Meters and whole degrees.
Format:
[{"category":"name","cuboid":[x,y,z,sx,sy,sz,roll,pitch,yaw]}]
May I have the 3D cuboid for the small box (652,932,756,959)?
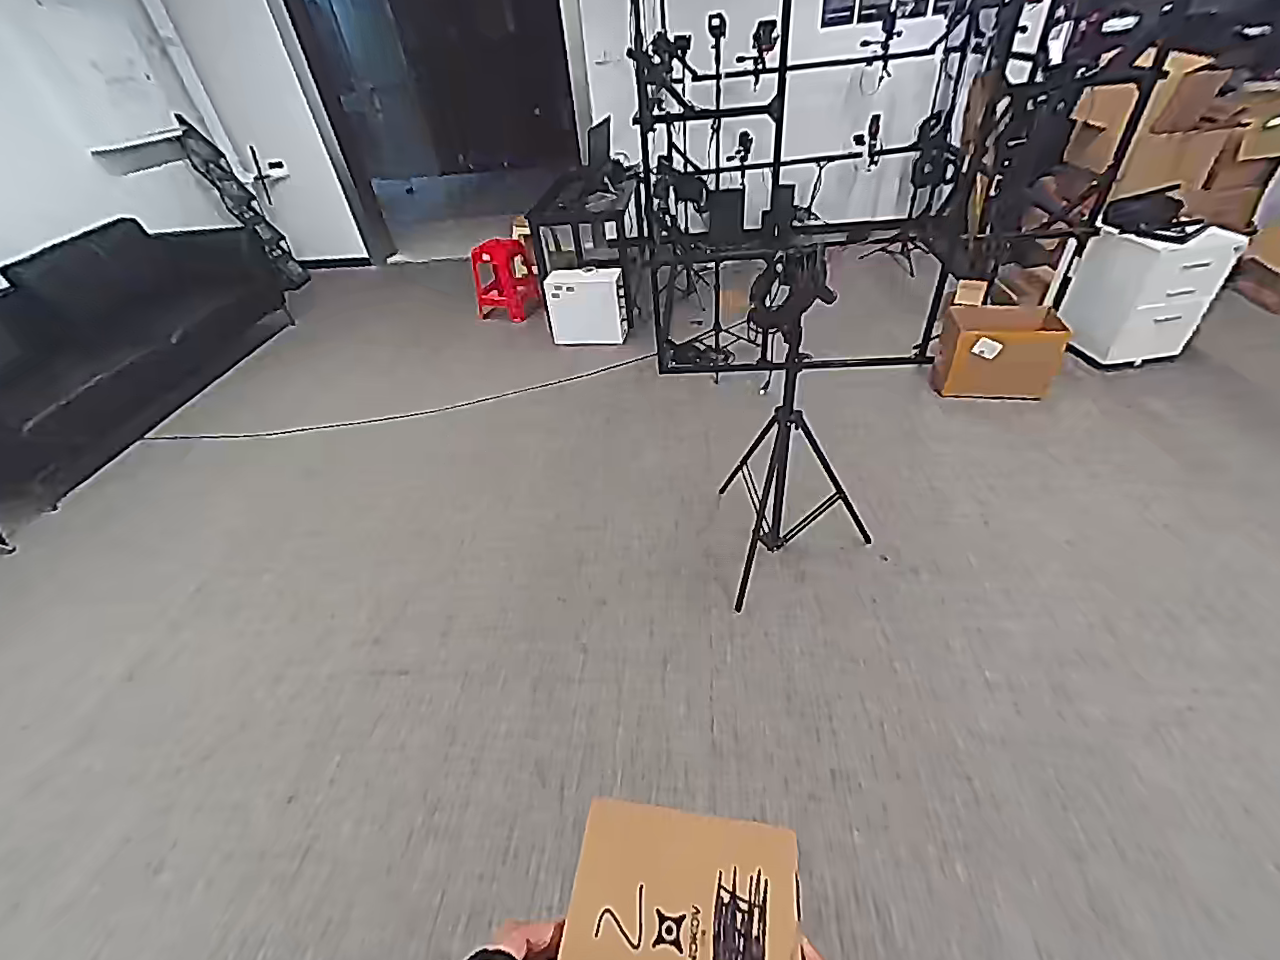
[{"category":"small box","cuboid":[0.114,0.891,0.918,0.179,0.176,0.168,-5,40,3]}]
